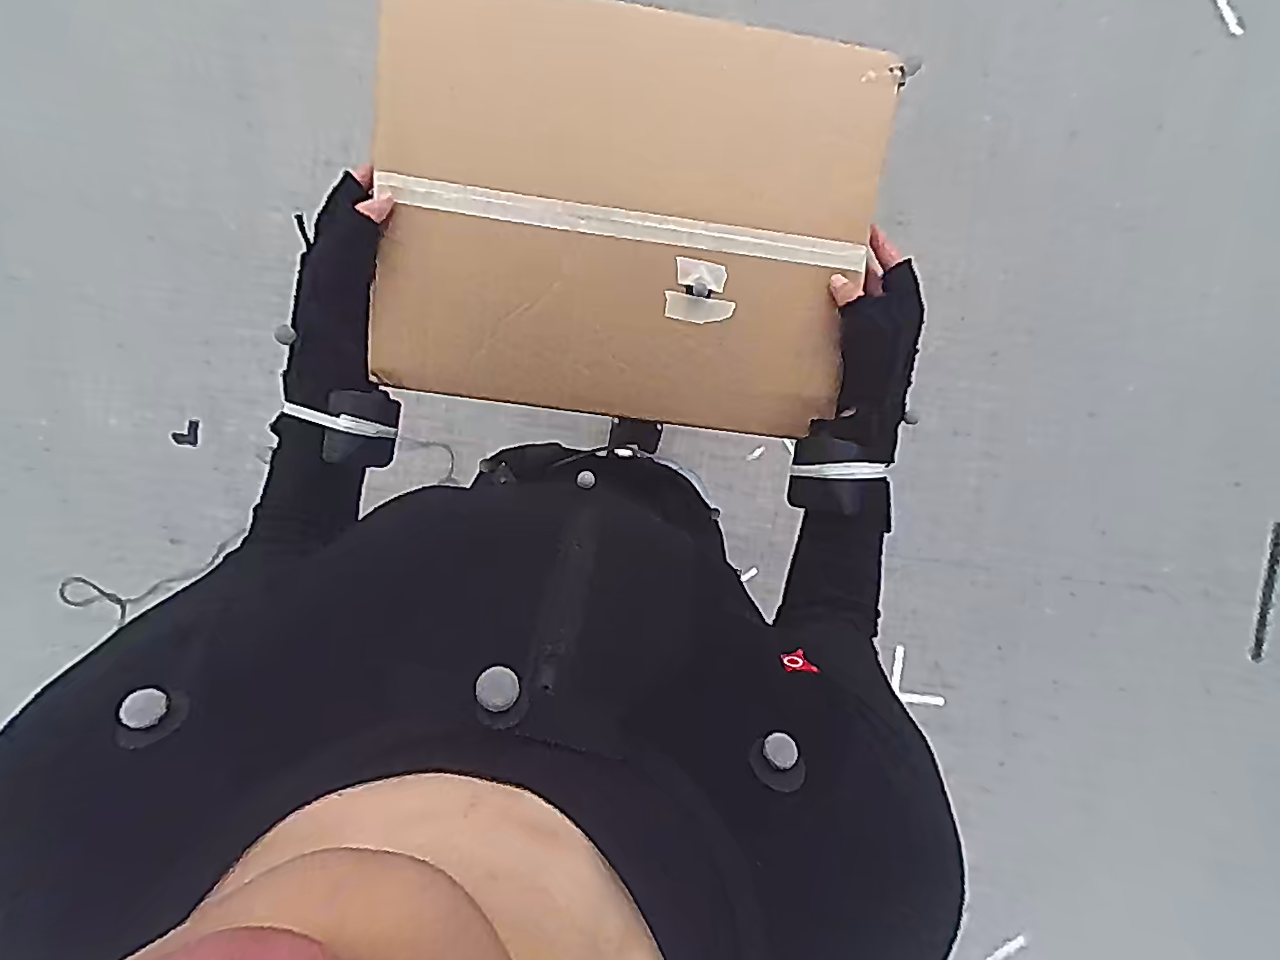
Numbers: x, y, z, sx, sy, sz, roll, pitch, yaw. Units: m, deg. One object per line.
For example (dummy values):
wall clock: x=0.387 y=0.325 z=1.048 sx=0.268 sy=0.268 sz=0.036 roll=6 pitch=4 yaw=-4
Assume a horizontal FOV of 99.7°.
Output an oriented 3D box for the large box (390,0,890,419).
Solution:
large box: x=-0.016 y=-0.251 z=0.602 sx=0.408 sy=0.320 sz=0.320 roll=6 pitch=102 yaw=-5
